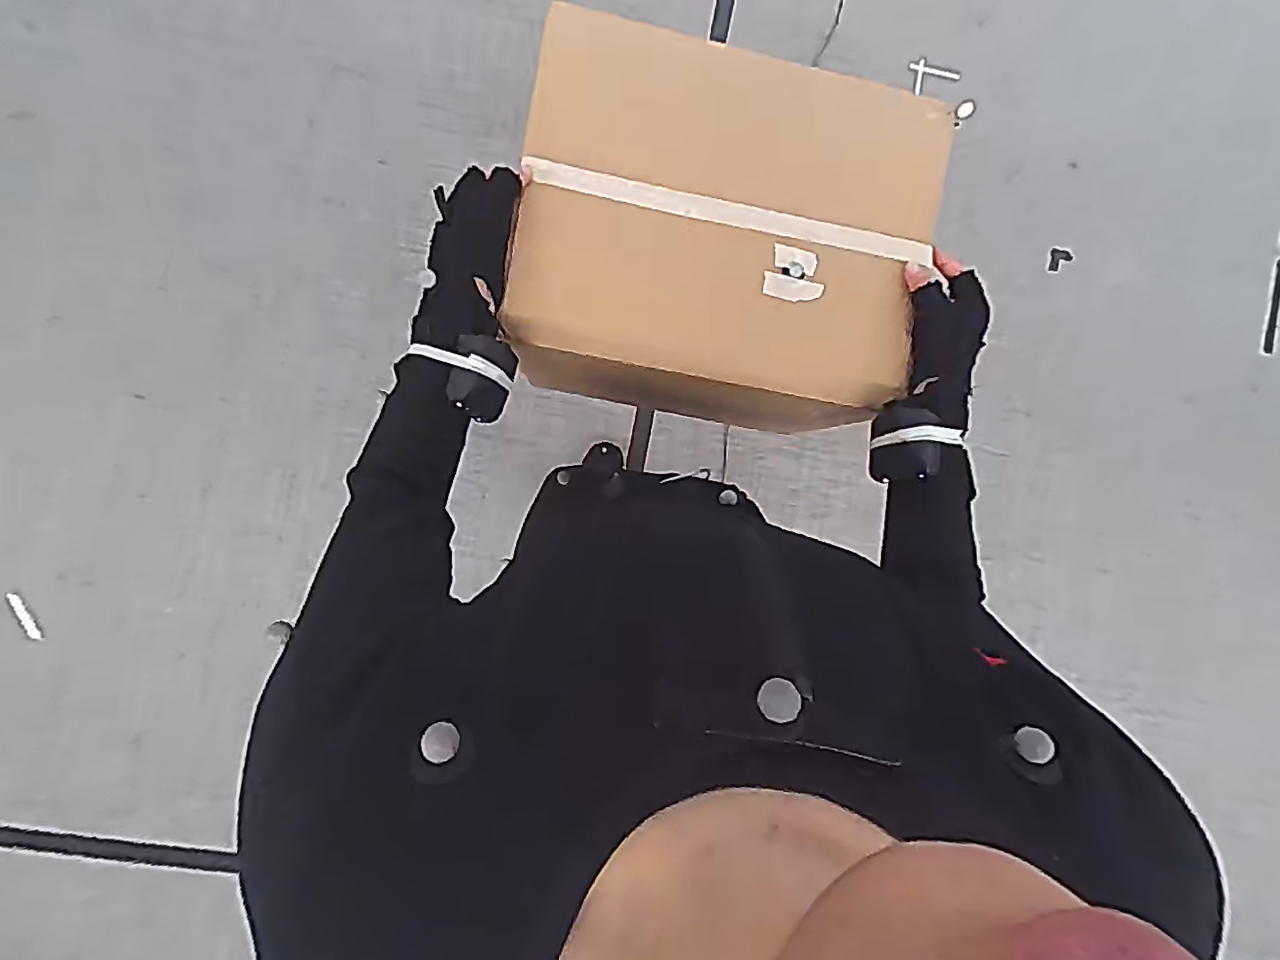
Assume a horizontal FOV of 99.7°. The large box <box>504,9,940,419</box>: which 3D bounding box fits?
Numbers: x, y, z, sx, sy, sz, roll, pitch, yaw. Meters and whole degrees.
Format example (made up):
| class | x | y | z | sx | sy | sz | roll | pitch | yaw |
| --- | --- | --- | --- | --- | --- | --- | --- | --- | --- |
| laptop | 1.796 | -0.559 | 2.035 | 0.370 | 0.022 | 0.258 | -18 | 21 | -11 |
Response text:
| class | x | y | z | sx | sy | sz | roll | pitch | yaw |
| --- | --- | --- | --- | --- | --- | --- | --- | --- | --- |
| large box | 0.071 | -0.270 | 0.678 | 0.408 | 0.320 | 0.320 | 10 | 92 | -6 |
